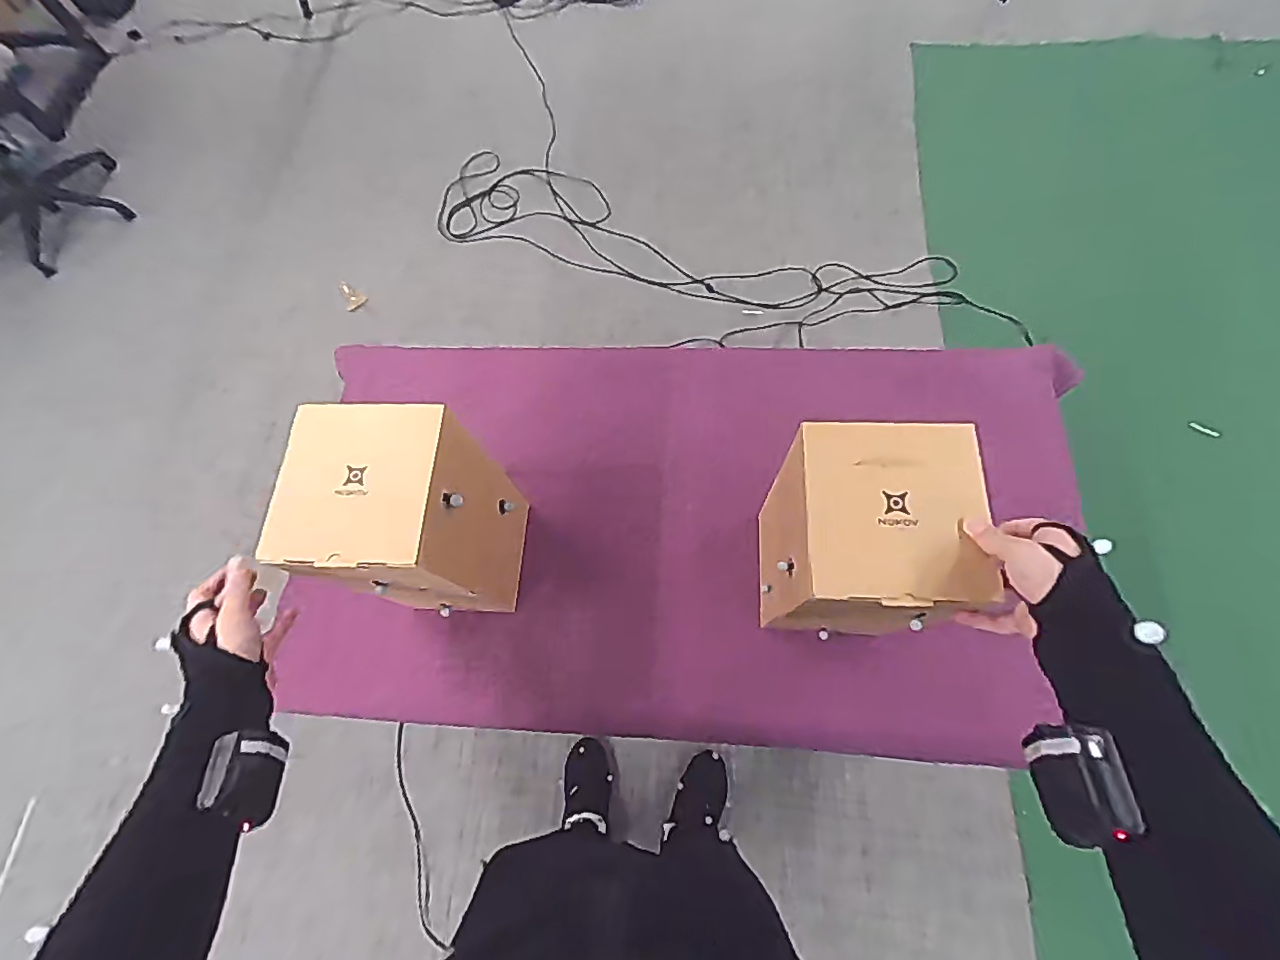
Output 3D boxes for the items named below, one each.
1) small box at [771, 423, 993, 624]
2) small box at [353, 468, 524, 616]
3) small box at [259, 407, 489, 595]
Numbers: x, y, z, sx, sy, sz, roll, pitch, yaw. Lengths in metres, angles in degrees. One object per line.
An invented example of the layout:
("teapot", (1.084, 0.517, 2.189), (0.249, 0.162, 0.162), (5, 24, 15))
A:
("small box", (0.235, 0.055, 0.575), (0.168, 0.176, 0.179), (1, 68, 5))
("small box", (-0.275, 0.092, 0.781), (0.168, 0.176, 0.179), (1, 68, 6))
("small box", (-0.287, 0.031, 0.631), (0.168, 0.176, 0.179), (0, 70, 5))
